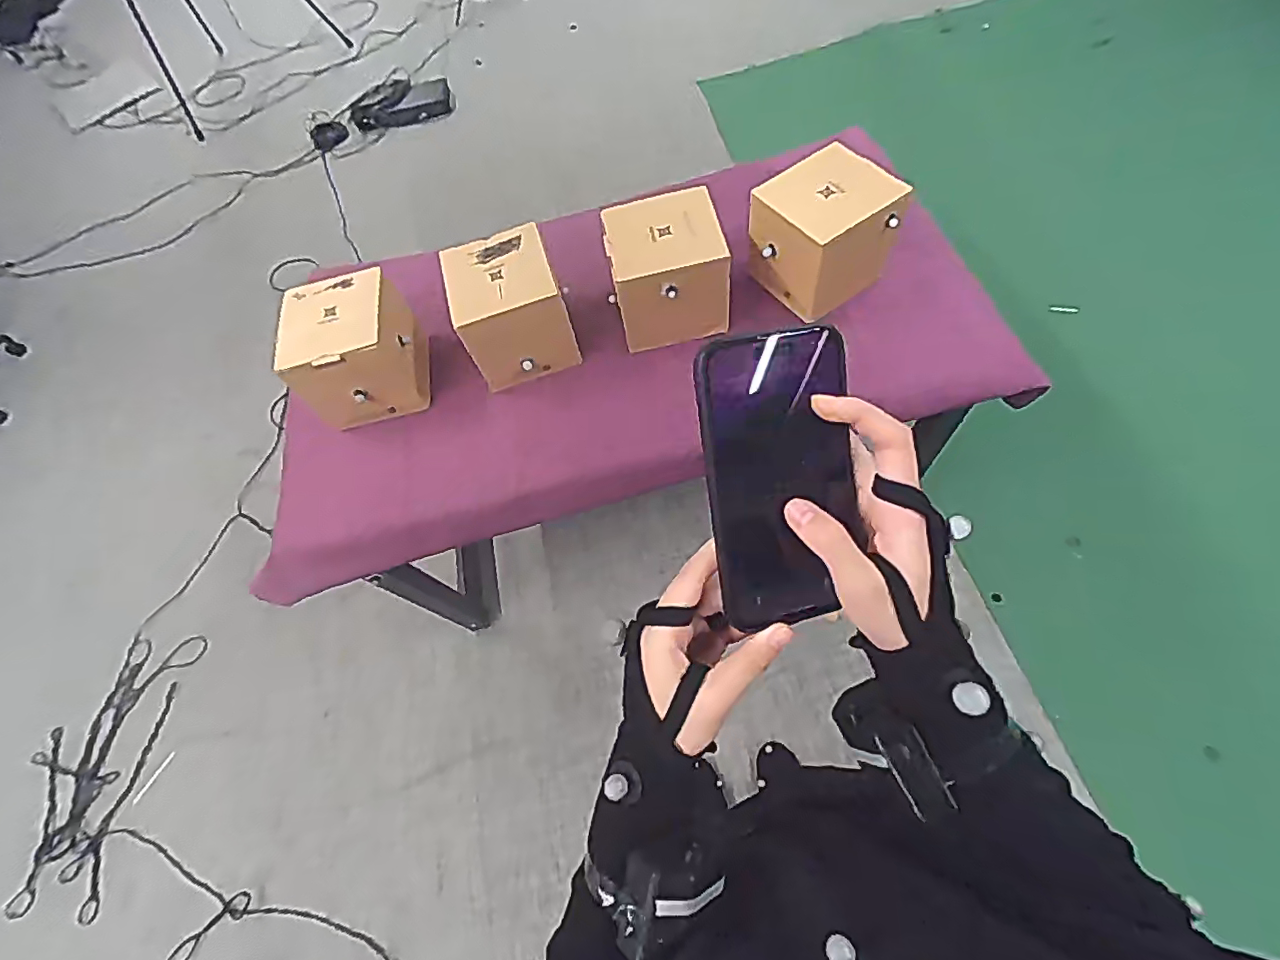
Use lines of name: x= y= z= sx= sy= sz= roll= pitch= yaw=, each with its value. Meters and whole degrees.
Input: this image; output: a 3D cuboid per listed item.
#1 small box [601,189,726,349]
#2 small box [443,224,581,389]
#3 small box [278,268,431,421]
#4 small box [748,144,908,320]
small box: x=0.043 y=-0.341 z=0.899 sx=0.179 sy=0.176 sz=0.168 roll=-11 pitch=63 yaw=3
small box: x=-0.210 y=-0.285 z=0.909 sx=0.168 sy=0.176 sz=0.179 roll=-18 pitch=63 yaw=0
small box: x=-0.469 y=-0.217 z=0.916 sx=0.168 sy=0.176 sz=0.179 roll=-13 pitch=63 yaw=2
small box: x=0.295 y=-0.398 z=0.887 sx=0.179 sy=0.176 sz=0.168 roll=-33 pitch=63 yaw=-8
